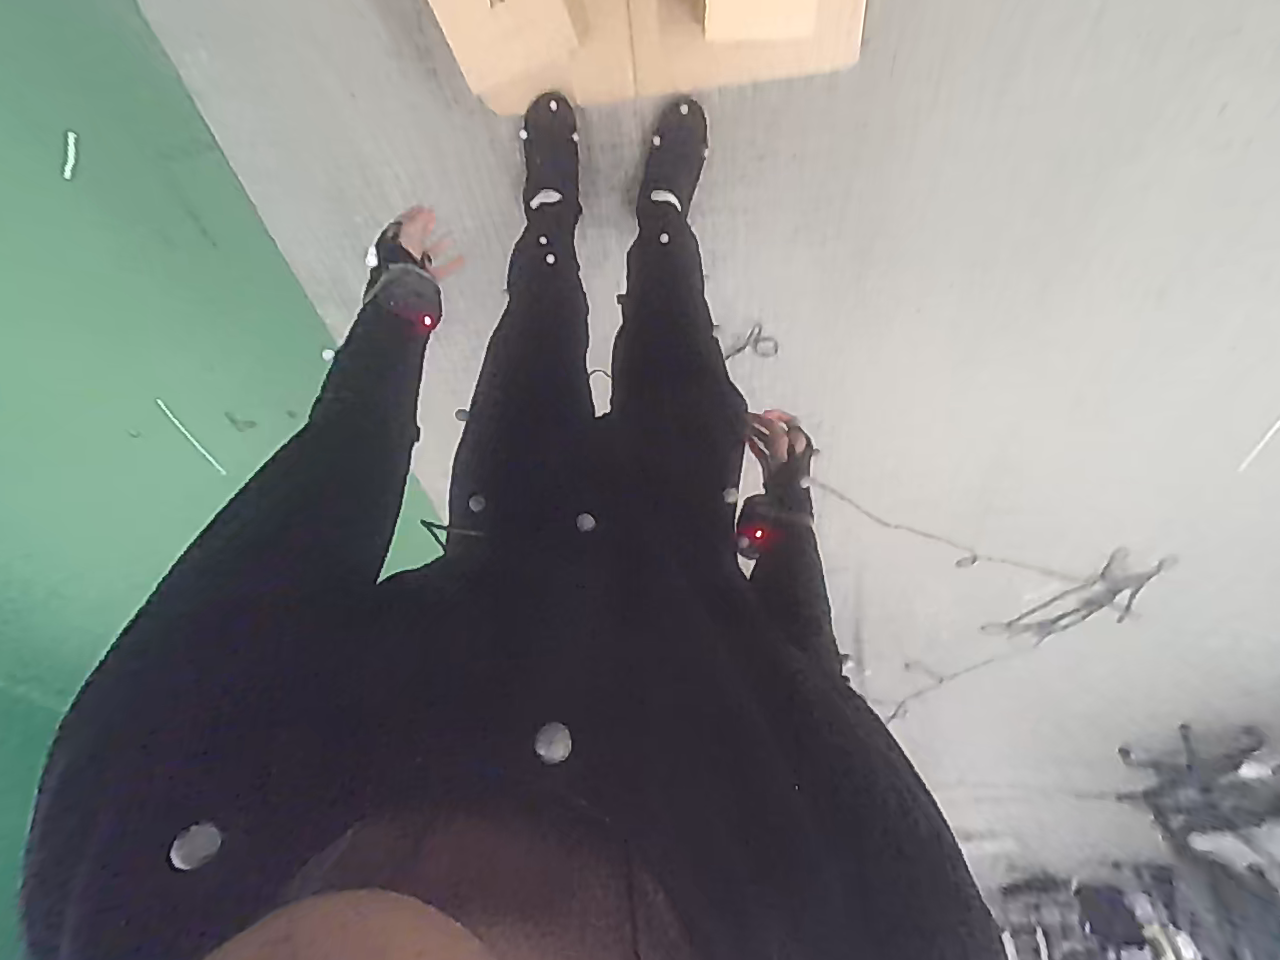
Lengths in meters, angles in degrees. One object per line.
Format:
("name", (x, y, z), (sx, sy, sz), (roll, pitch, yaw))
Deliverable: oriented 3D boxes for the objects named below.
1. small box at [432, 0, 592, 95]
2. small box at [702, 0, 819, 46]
("small box", (-0.175, -0.660, 0.727), (0.168, 0.176, 0.179), (-12, 133, 15))
("small box", (0.181, -0.781, 0.816), (0.168, 0.176, 0.179), (-1, 134, 3))
